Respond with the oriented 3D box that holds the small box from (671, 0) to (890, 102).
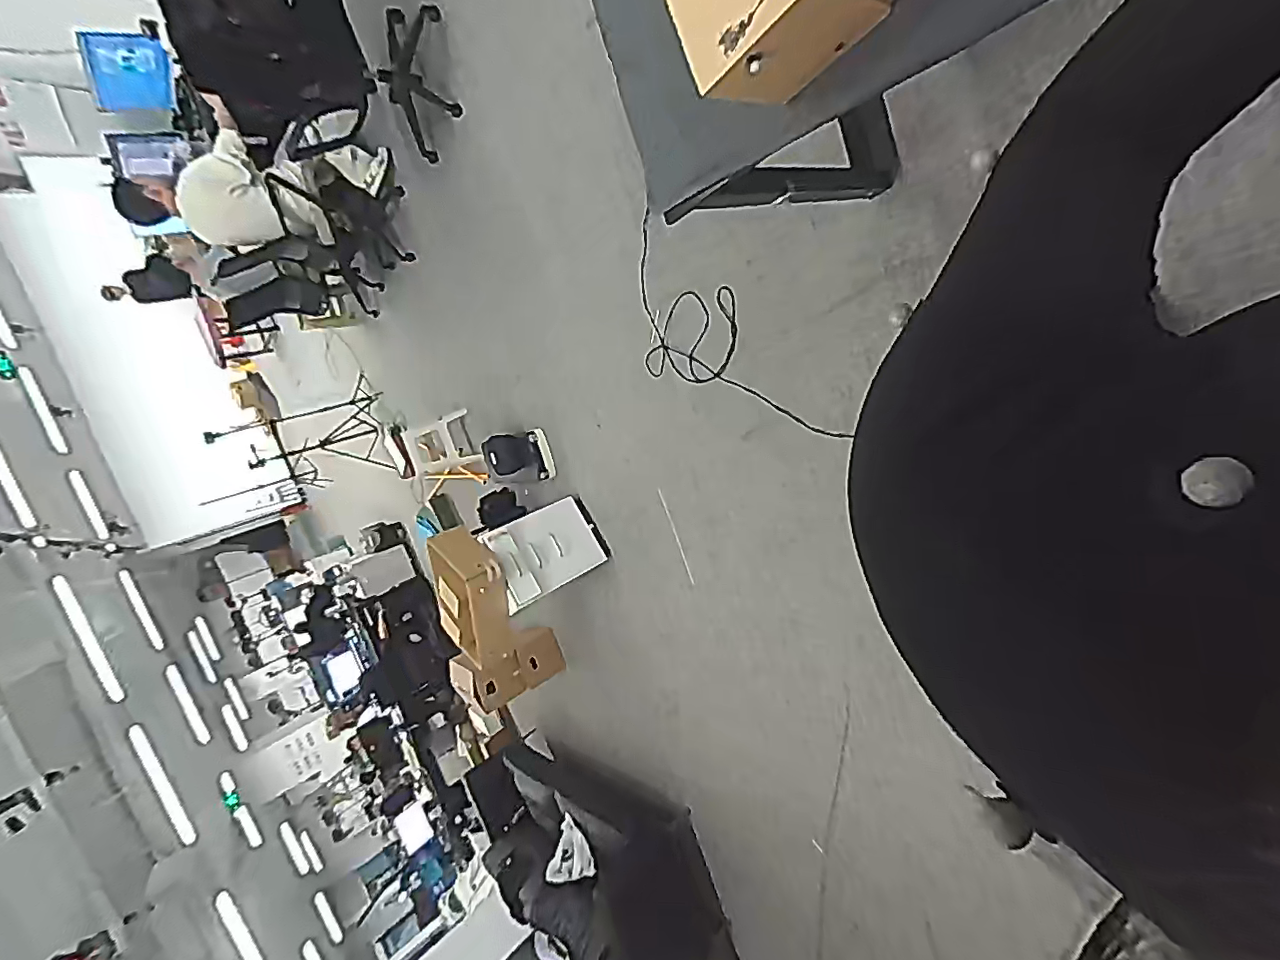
[{"bbox_3d":[0.152,-0.572,0.617,0.168,0.176,0.179,-11,101,54],"label":"small box"}]
